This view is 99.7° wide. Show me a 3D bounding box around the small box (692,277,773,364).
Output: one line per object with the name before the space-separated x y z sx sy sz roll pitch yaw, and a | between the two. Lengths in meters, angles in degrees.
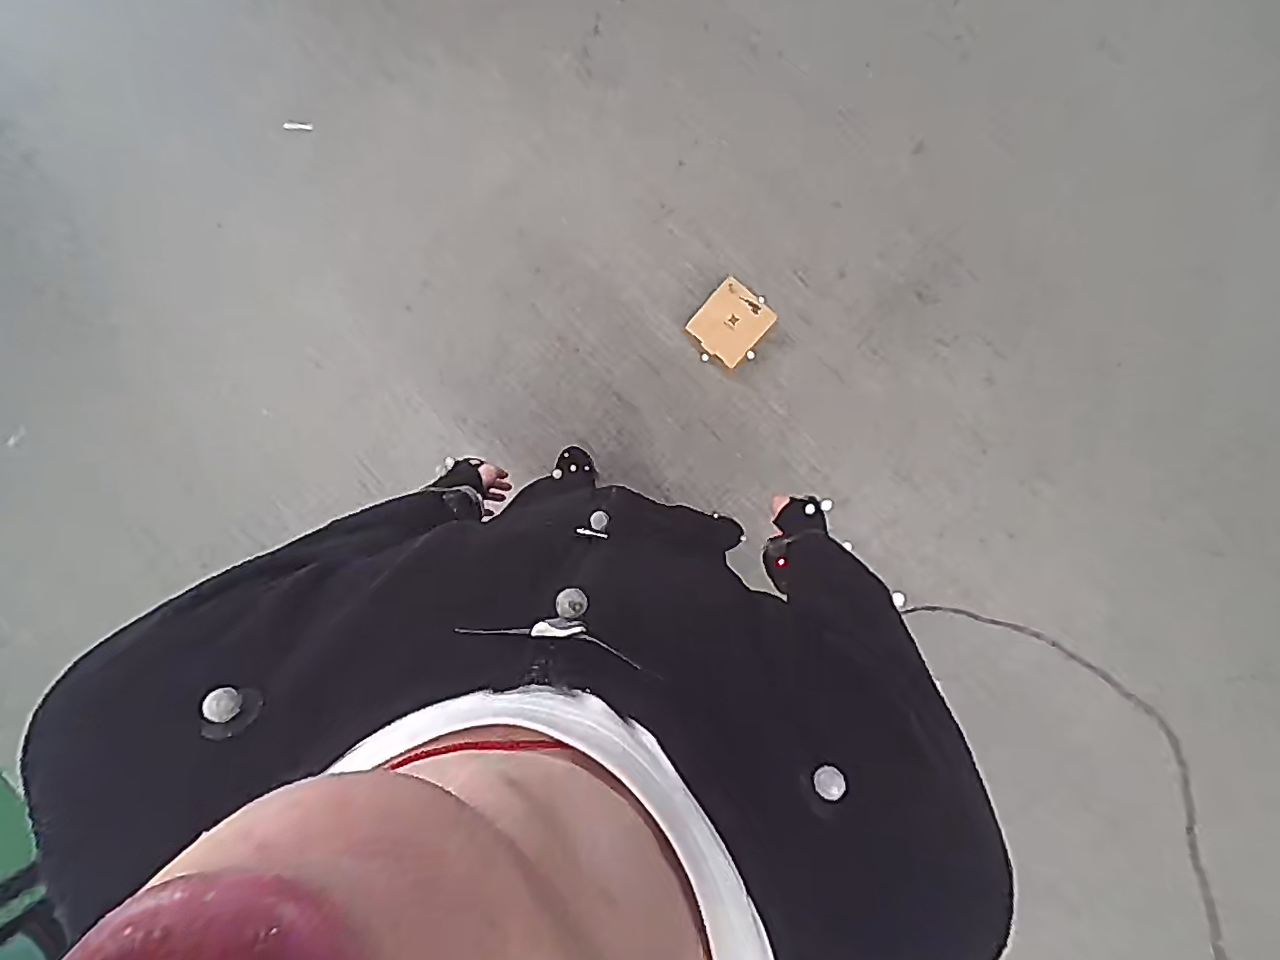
small box | 0.245 -0.420 1.444 0.179 0.176 0.168 13 92 8
